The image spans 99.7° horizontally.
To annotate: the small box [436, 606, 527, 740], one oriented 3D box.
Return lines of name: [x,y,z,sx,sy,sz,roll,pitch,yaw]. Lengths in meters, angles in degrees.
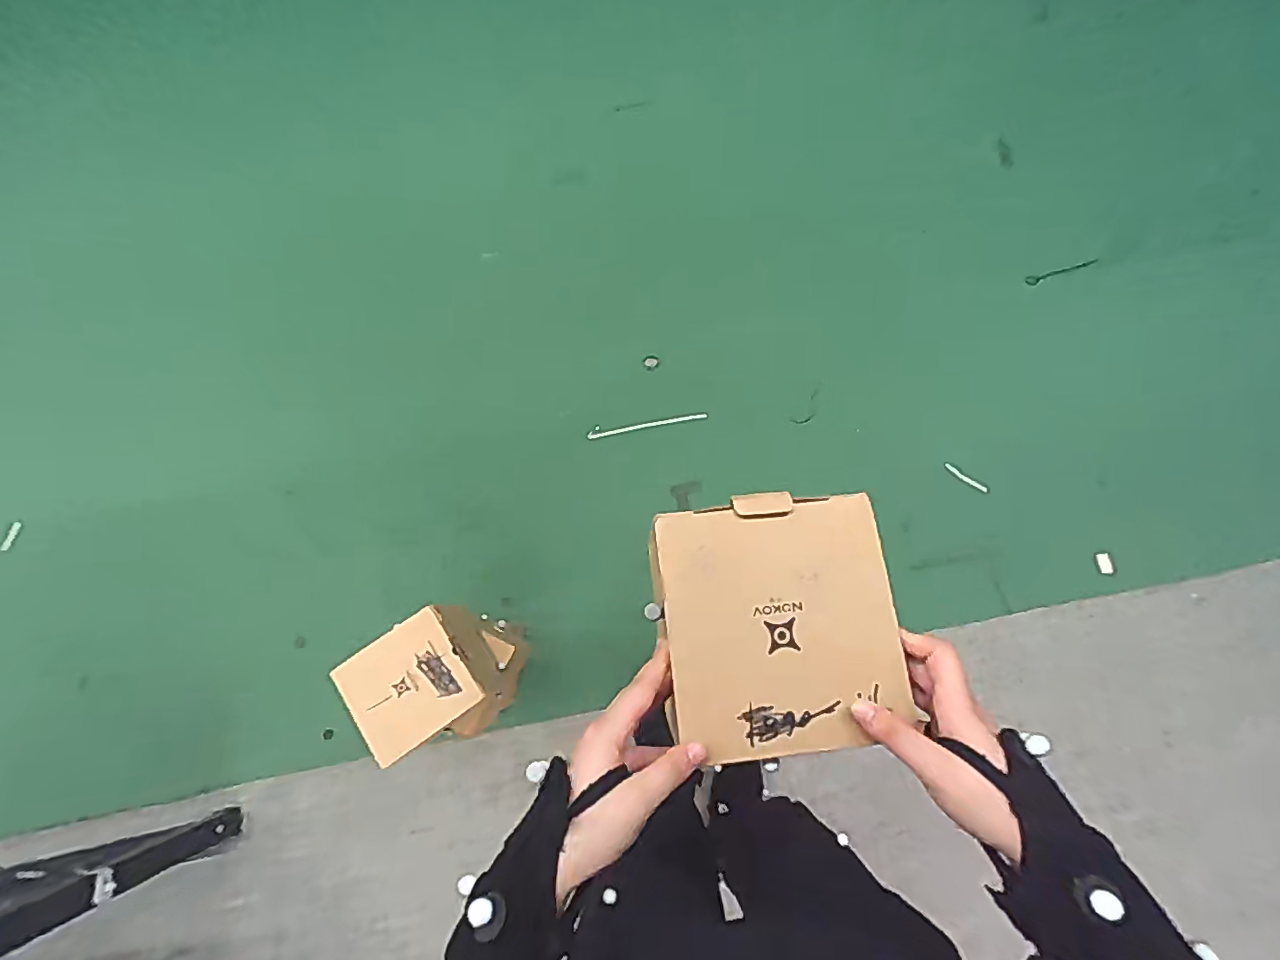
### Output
small box: [-0.333,0.357,1.028,0.168,0.176,0.179,25,76,5]

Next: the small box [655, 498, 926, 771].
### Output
small box: [0.104,0.122,0.460,0.168,0.176,0.179,-6,78,-2]

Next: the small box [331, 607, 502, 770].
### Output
small box: [-0.341,0.318,0.868,0.179,0.176,0.168,-34,79,-7]
